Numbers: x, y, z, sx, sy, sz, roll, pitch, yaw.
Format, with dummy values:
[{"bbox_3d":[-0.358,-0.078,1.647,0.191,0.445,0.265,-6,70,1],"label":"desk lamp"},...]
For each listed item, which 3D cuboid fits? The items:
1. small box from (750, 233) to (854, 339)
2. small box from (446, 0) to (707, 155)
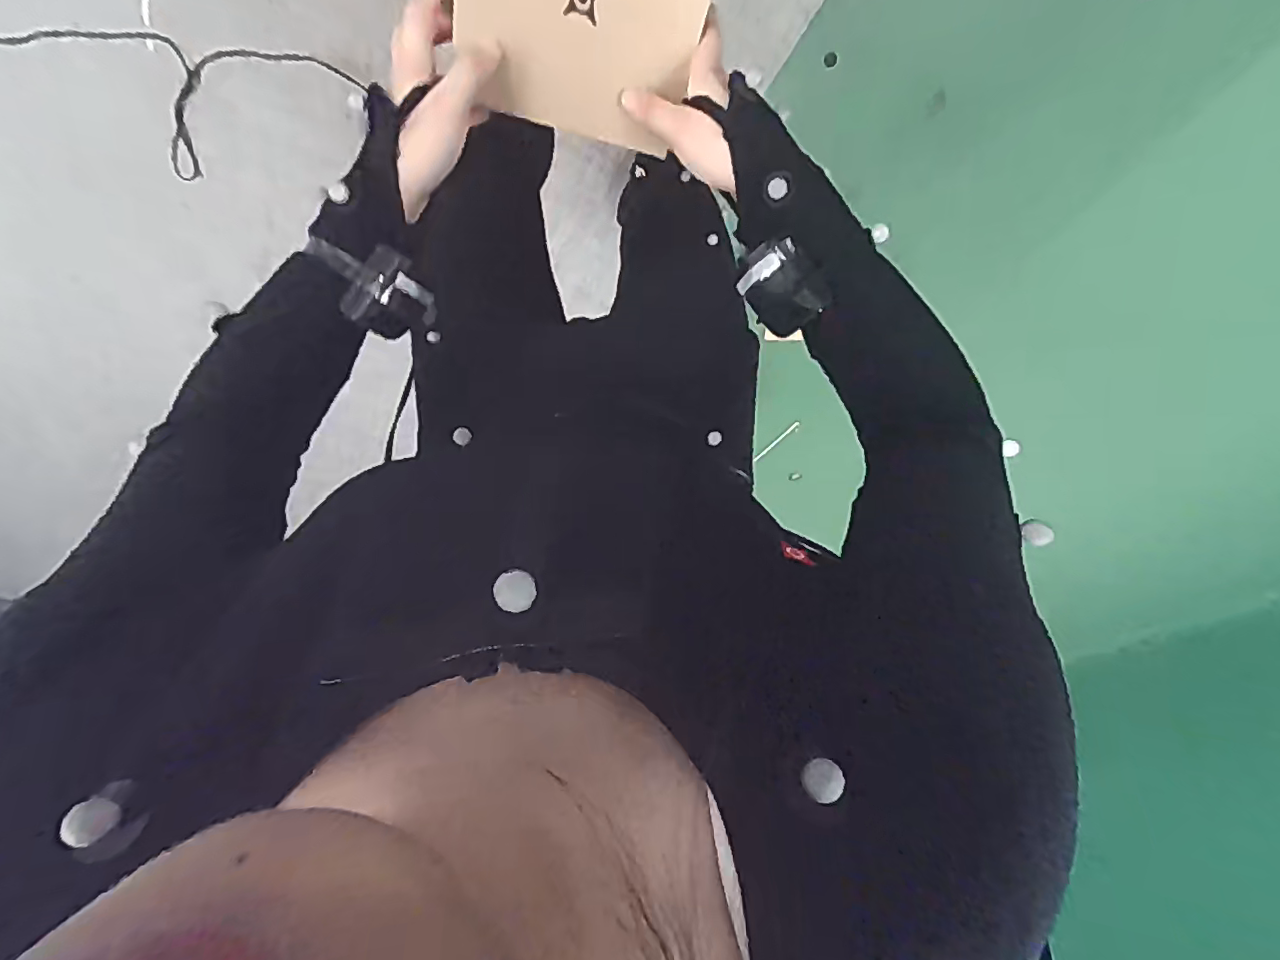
[{"bbox_3d":[0.354,-0.437,1.216,0.179,0.176,0.168,-1,141,2],"label":"small box"},{"bbox_3d":[-0.040,-0.388,0.398,0.168,0.176,0.179,9,141,-16],"label":"small box"}]
